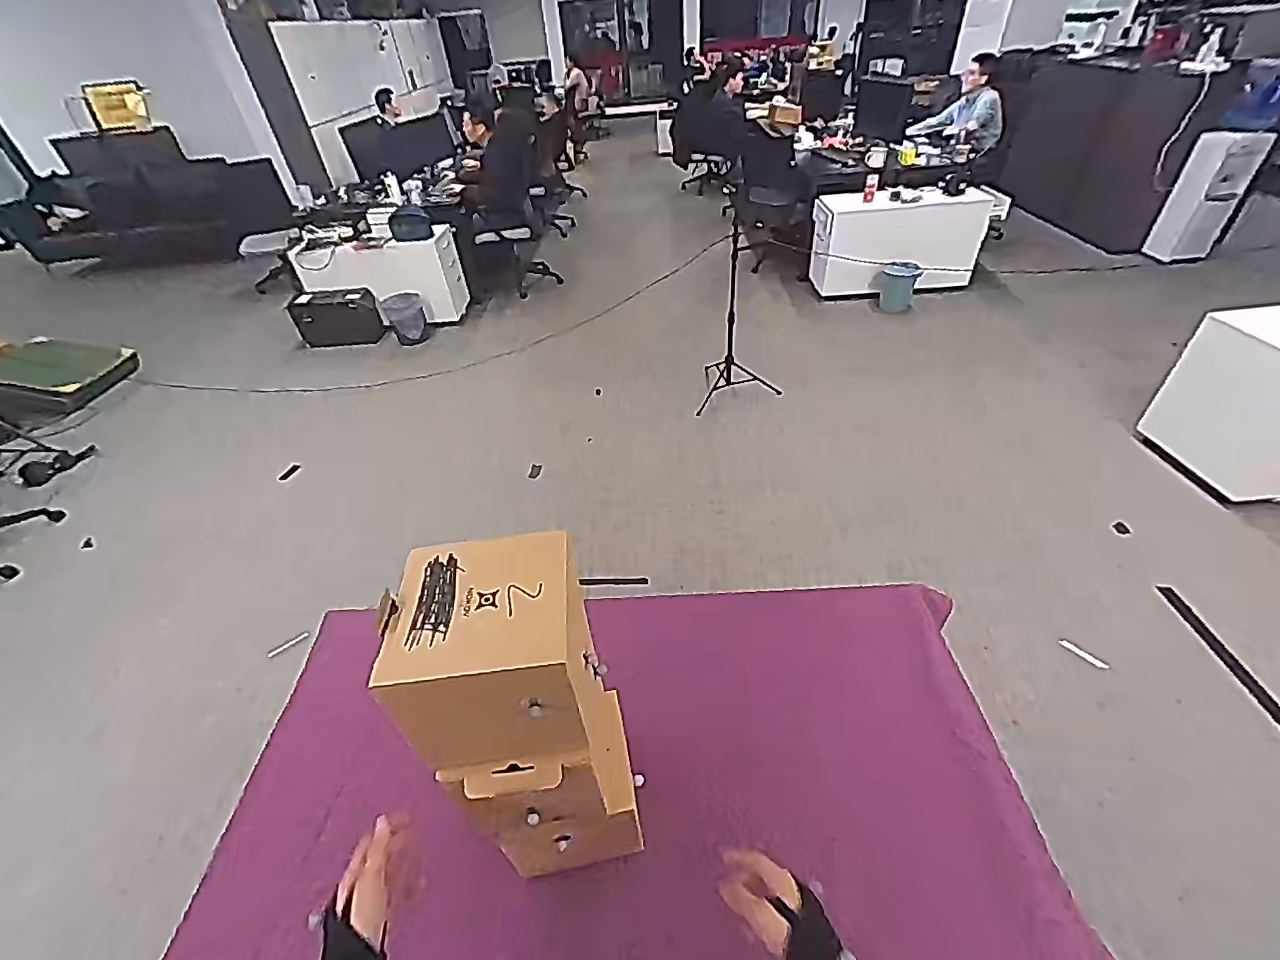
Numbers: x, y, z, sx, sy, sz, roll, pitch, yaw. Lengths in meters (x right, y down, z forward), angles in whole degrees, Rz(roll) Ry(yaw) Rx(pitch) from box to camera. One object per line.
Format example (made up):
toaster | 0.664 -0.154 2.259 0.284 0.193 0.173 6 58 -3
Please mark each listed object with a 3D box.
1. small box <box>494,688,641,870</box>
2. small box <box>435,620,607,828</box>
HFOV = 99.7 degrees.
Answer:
small box | -0.101 0.432 0.779 0.179 0.176 0.168 -9 41 -5
small box | -0.134 0.304 0.678 0.168 0.176 0.179 -7 41 0
